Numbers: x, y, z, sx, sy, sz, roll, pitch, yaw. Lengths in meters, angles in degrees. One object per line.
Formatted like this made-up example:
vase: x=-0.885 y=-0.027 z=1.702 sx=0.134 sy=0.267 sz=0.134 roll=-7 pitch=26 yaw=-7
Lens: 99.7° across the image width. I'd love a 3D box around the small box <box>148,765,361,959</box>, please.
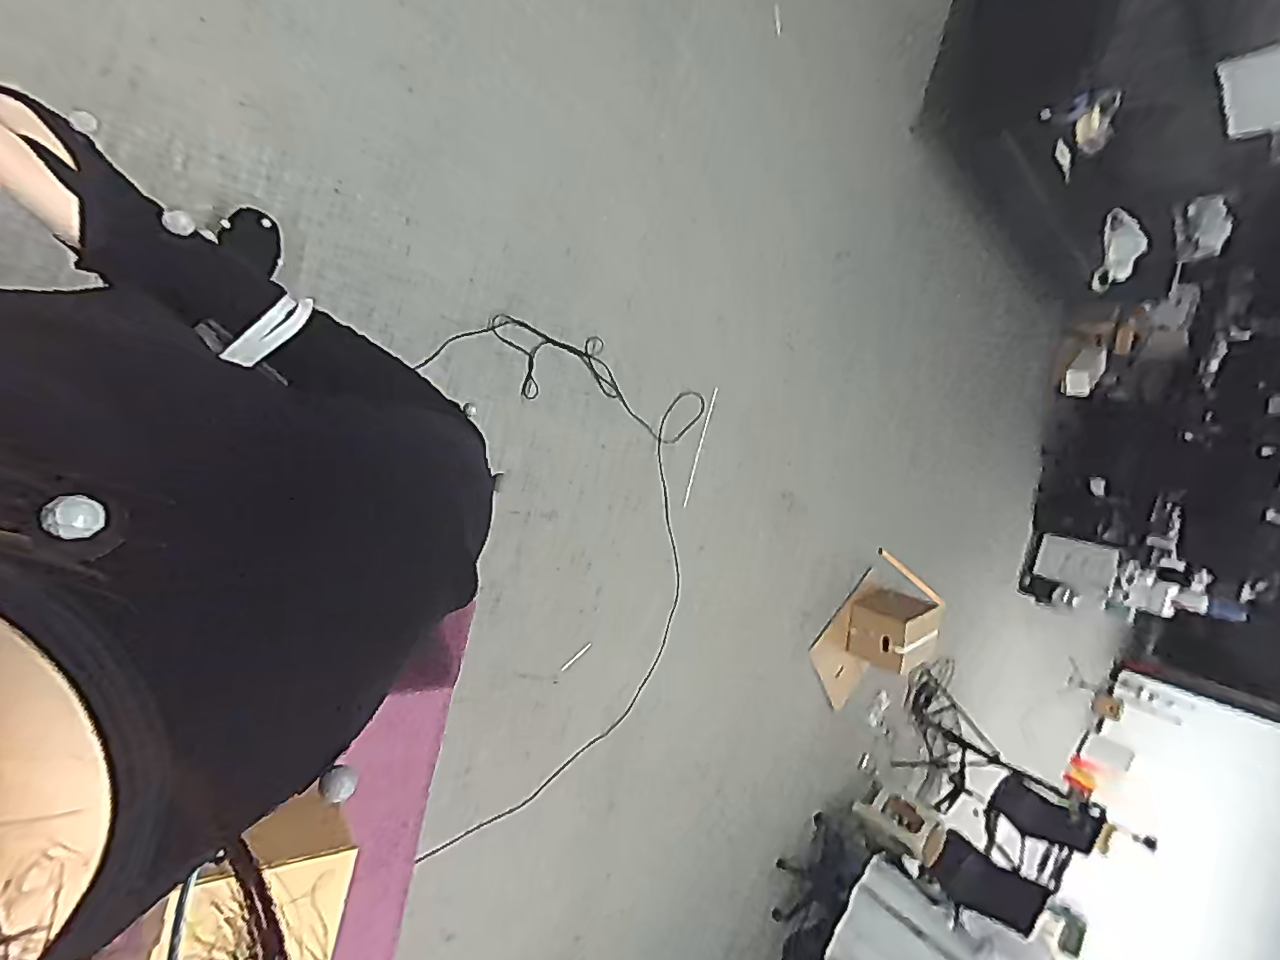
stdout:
small box: x=-0.469 y=0.479 z=0.661 sx=0.179 sy=0.176 sz=0.168 roll=13 pitch=94 yaw=-38
